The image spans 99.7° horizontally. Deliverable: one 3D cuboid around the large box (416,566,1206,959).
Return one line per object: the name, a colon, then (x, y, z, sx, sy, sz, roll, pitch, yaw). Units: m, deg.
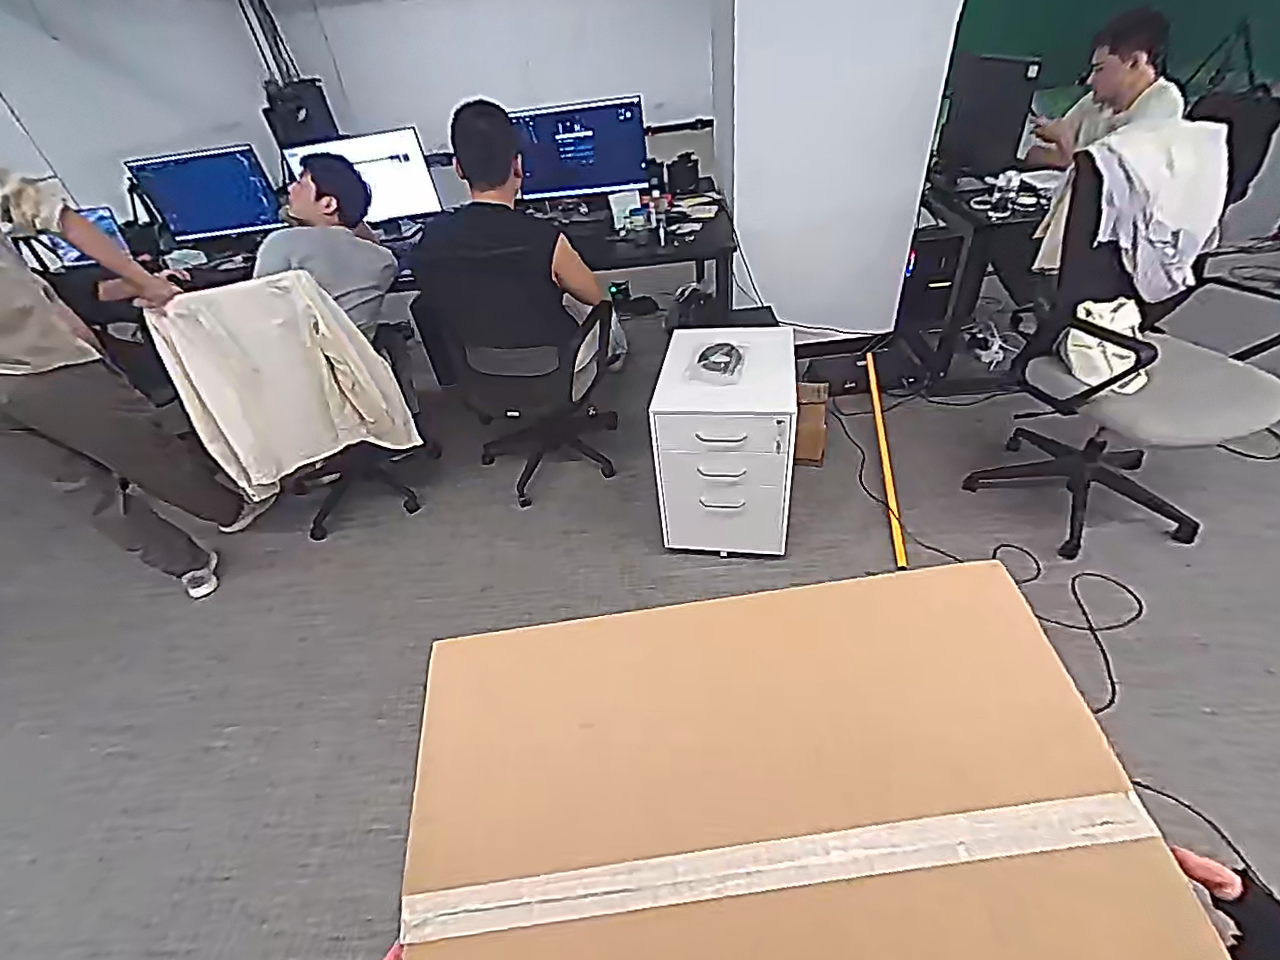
large box: (0.086, 0.302, 0.421, 0.408, 0.320, 0.320, -9, 55, 1)
